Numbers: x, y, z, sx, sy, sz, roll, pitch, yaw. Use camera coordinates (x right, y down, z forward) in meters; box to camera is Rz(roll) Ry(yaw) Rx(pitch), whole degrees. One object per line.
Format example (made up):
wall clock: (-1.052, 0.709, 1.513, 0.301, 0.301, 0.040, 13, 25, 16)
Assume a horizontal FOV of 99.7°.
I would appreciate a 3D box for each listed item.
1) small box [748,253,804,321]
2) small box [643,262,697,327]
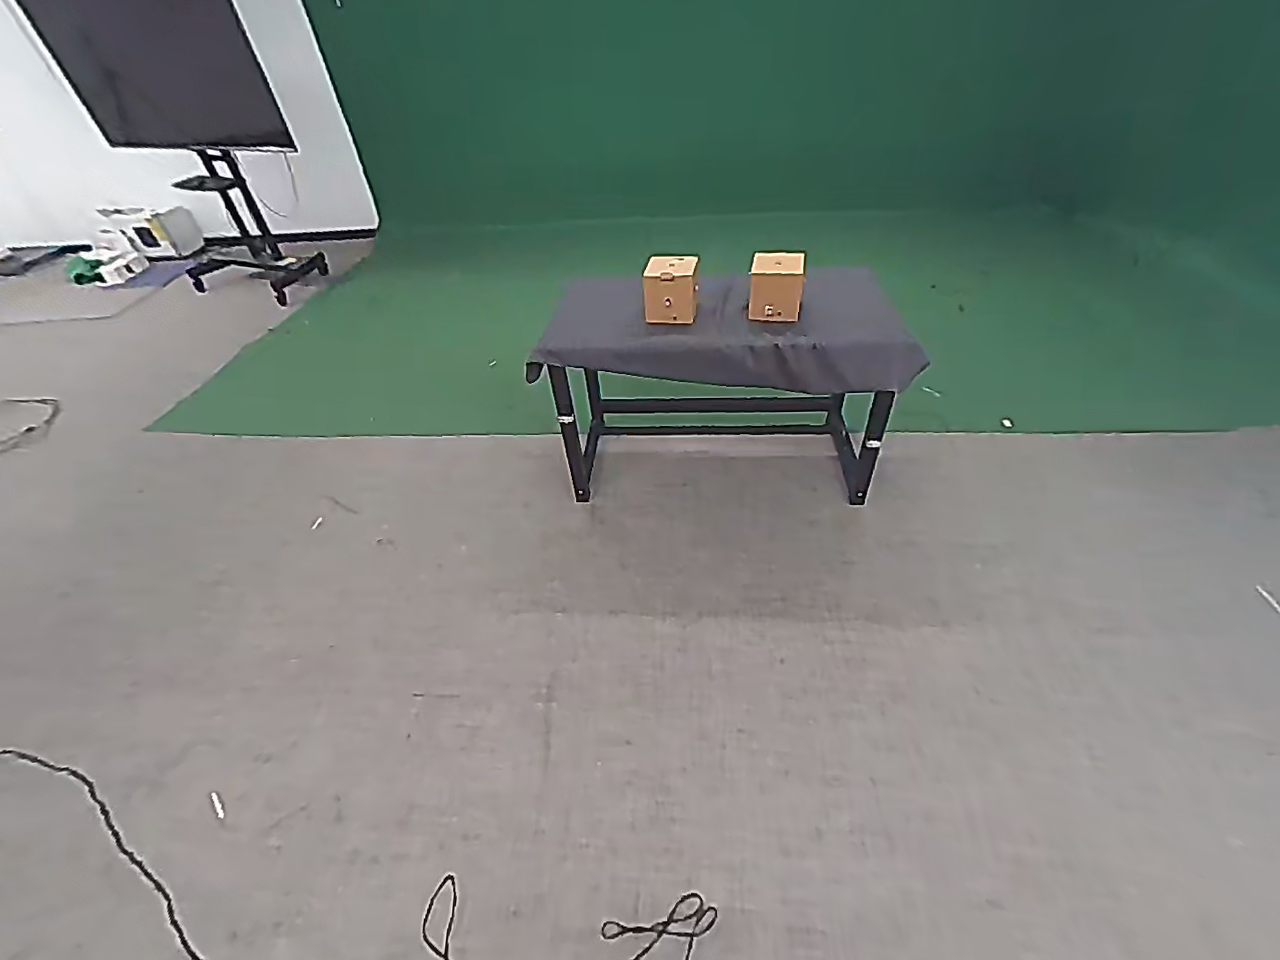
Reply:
small box: (0.460, -0.657, 1.832, 0.168, 0.176, 0.179, 6, 43, 16)
small box: (0.110, -0.643, 1.884, 0.168, 0.176, 0.179, 2, 42, 10)
